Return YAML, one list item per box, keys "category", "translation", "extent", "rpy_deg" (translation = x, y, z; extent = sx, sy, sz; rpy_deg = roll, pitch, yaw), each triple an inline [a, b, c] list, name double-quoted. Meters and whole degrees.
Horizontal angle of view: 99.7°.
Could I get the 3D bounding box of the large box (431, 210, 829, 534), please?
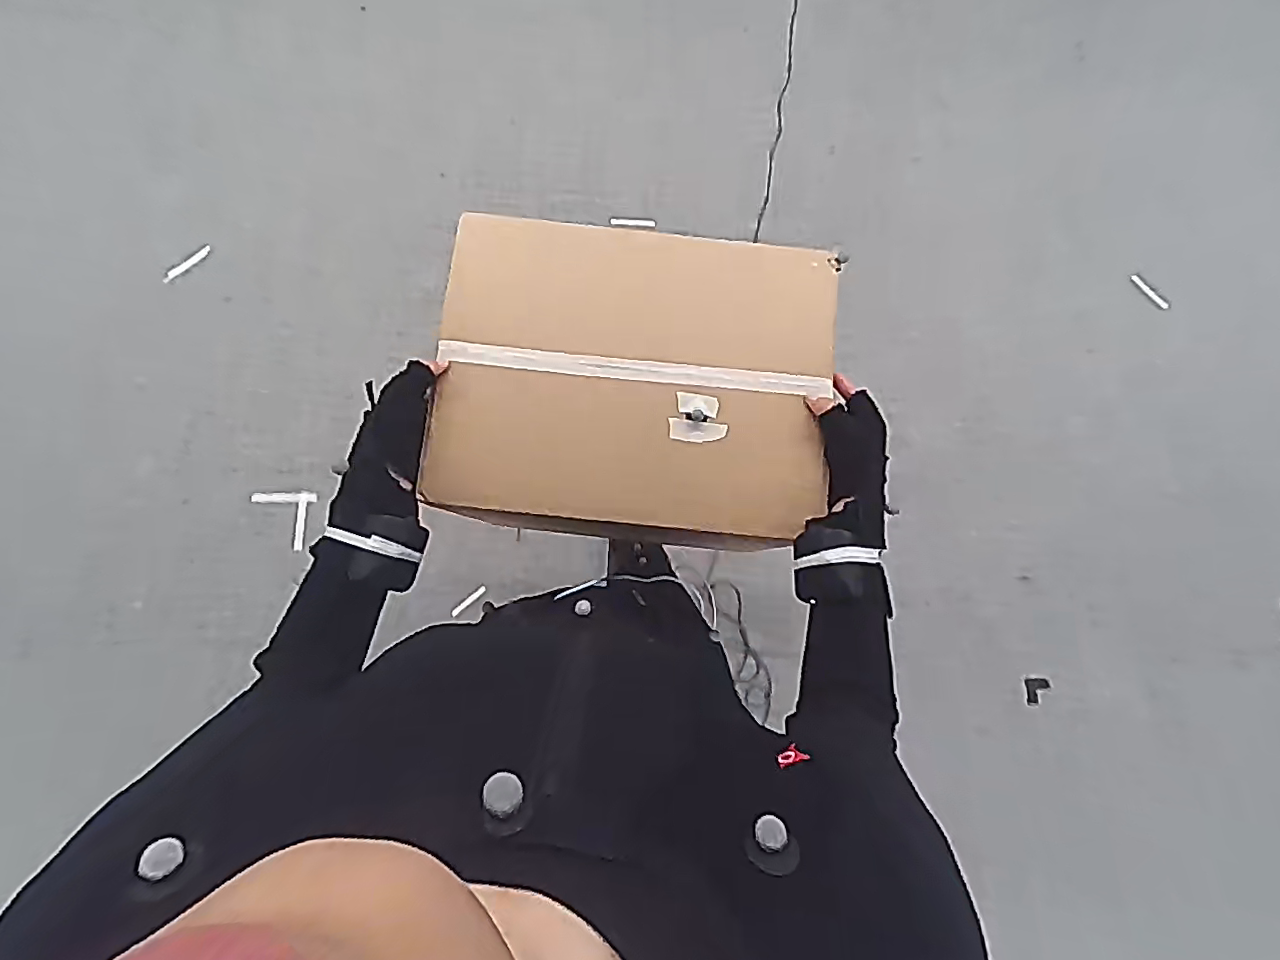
- category: "large box"
  translation: [-0.009, -0.105, 0.717]
  extent: [0.408, 0.320, 0.320]
  rpy_deg: [6, 82, -1]
